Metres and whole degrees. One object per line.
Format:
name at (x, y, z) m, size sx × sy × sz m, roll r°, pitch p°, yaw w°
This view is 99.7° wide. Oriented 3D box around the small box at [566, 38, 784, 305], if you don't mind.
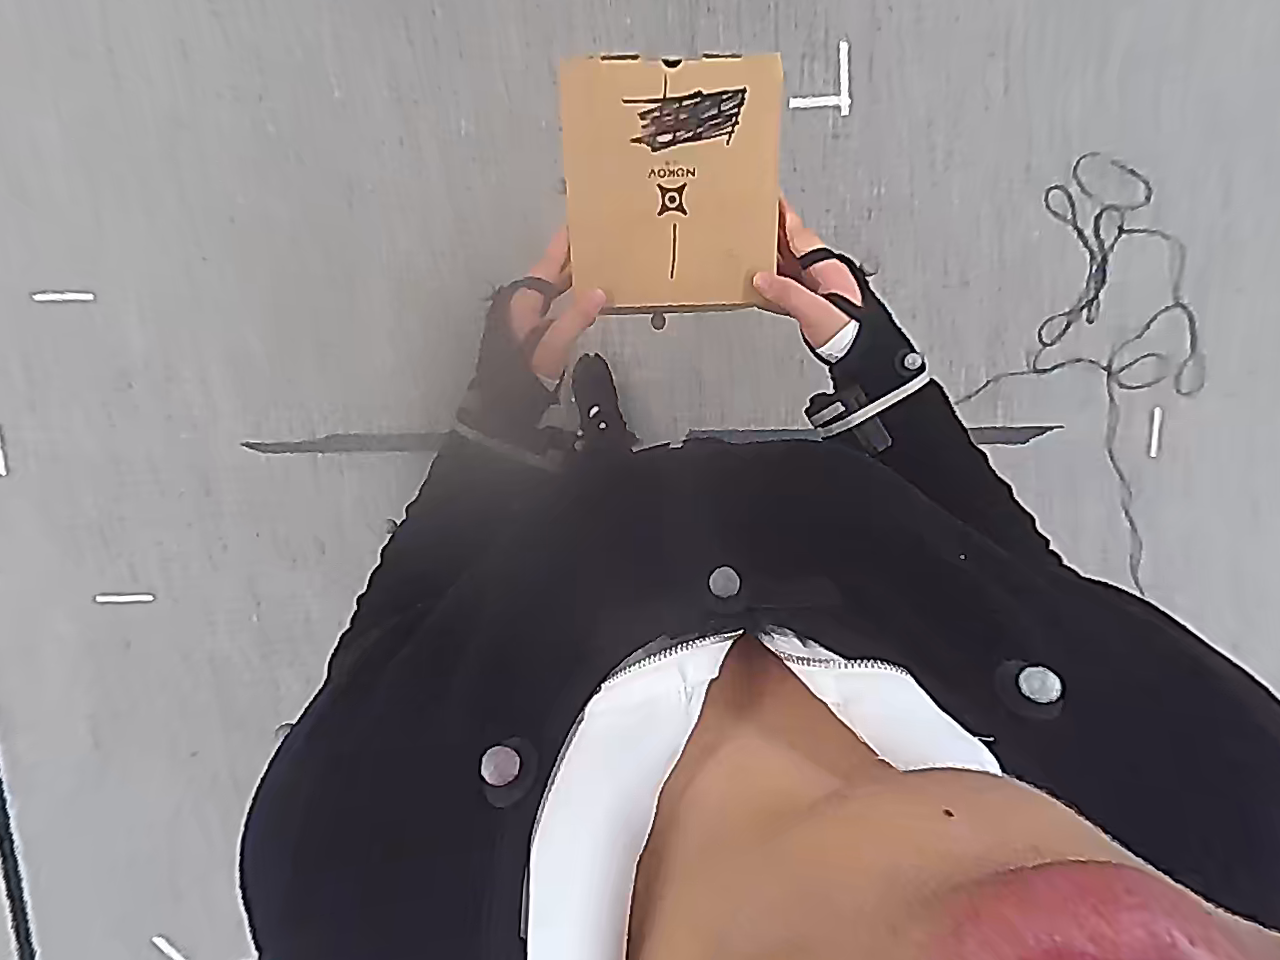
small box at (0.024, -0.258, 0.493) m, size 0.168 × 0.176 × 0.179 m, roll -2°, pitch 105°, yaw -1°
